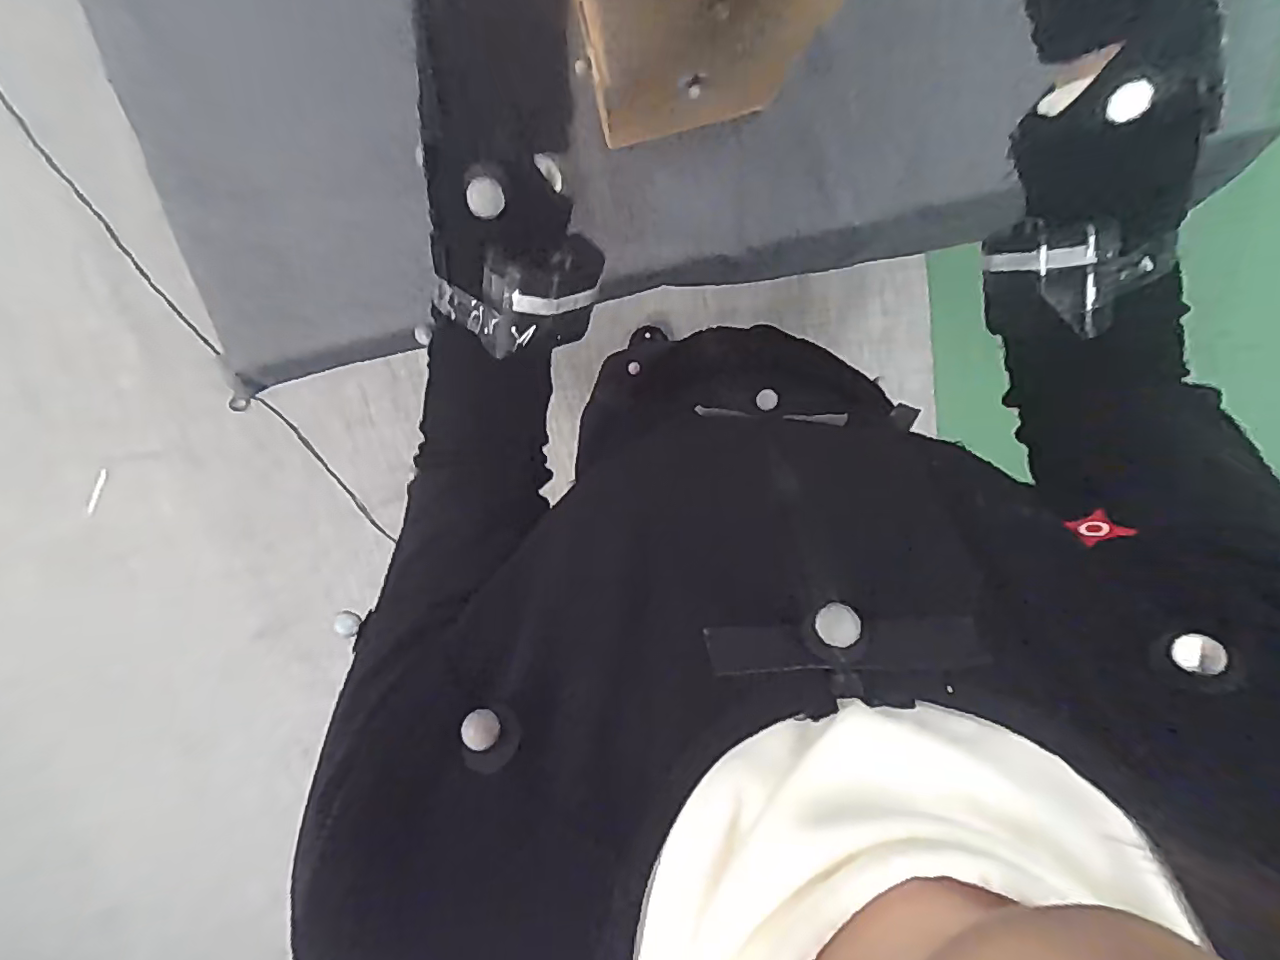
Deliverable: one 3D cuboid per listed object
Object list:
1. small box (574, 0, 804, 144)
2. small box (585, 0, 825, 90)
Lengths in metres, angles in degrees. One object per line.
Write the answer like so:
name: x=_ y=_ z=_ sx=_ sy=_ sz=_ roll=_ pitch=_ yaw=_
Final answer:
small box: x=0.030 y=-0.434 z=0.489 sx=0.179 sy=0.176 sz=0.168 roll=-13 pitch=106 yaw=3
small box: x=0.039 y=-0.385 z=0.333 sx=0.179 sy=0.176 sz=0.168 roll=-16 pitch=106 yaw=4
